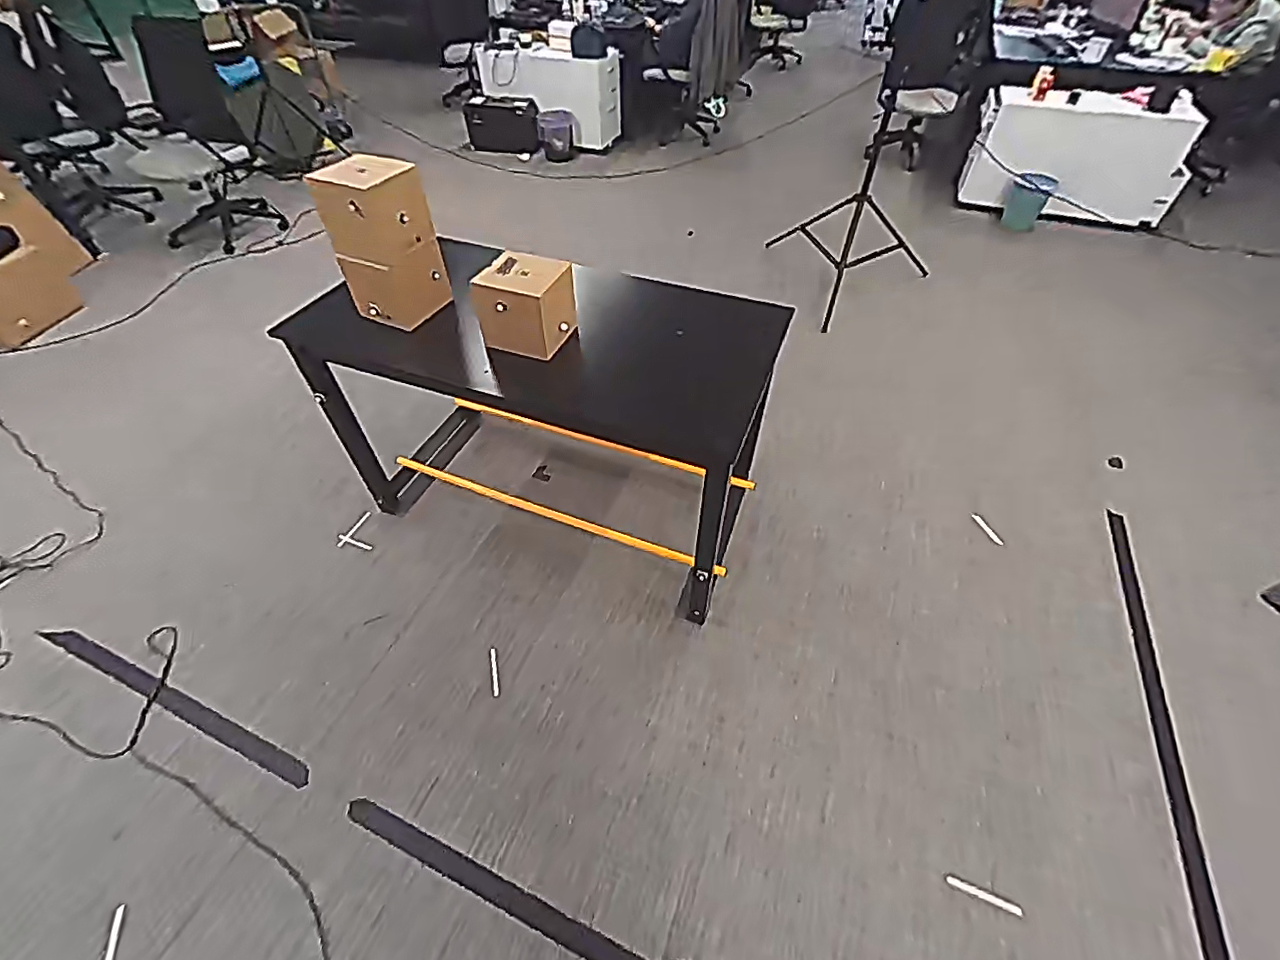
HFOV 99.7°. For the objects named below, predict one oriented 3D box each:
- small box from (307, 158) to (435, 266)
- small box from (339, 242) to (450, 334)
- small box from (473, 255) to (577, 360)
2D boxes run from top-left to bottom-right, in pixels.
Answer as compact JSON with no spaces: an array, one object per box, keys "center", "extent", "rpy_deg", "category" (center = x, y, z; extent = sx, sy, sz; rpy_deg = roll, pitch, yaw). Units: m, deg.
[{"center":[-0.607,-0.614,1.247],"extent":[0.179,0.176,0.168],"rpy_deg":[18,50,17],"category":"small box"},{"center":[-0.604,-0.498,1.365],"extent":[0.168,0.176,0.179],"rpy_deg":[18,52,17],"category":"small box"},{"center":[-0.262,-0.405,1.279],"extent":[0.179,0.176,0.168],"rpy_deg":[16,50,13],"category":"small box"}]
